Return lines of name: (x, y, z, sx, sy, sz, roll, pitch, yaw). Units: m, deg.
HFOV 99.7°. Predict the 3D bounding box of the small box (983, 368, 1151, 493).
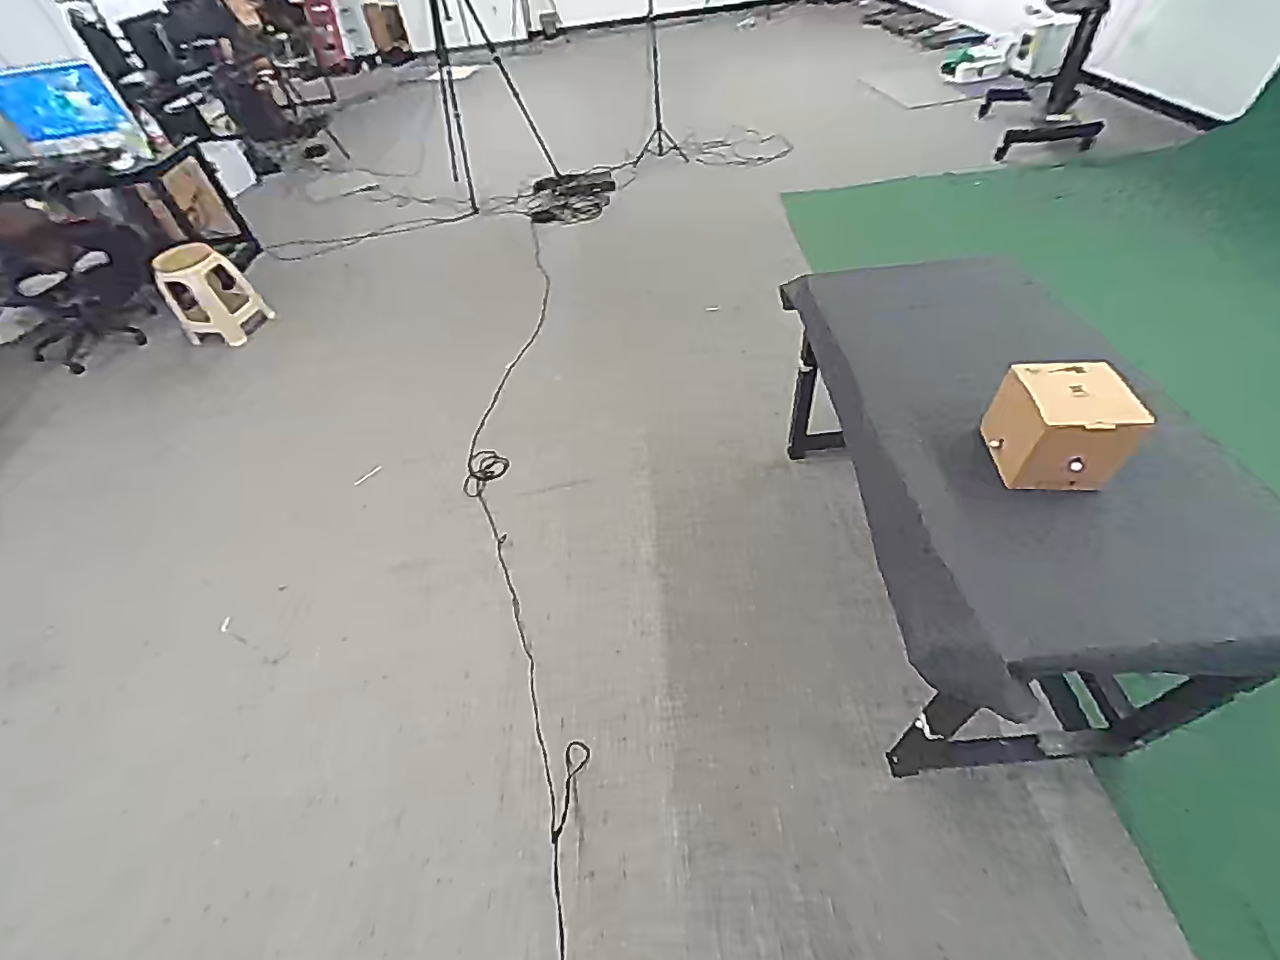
small box: (0.783, -0.090, 1.018, 0.168, 0.176, 0.179, 1, 49, 8)
